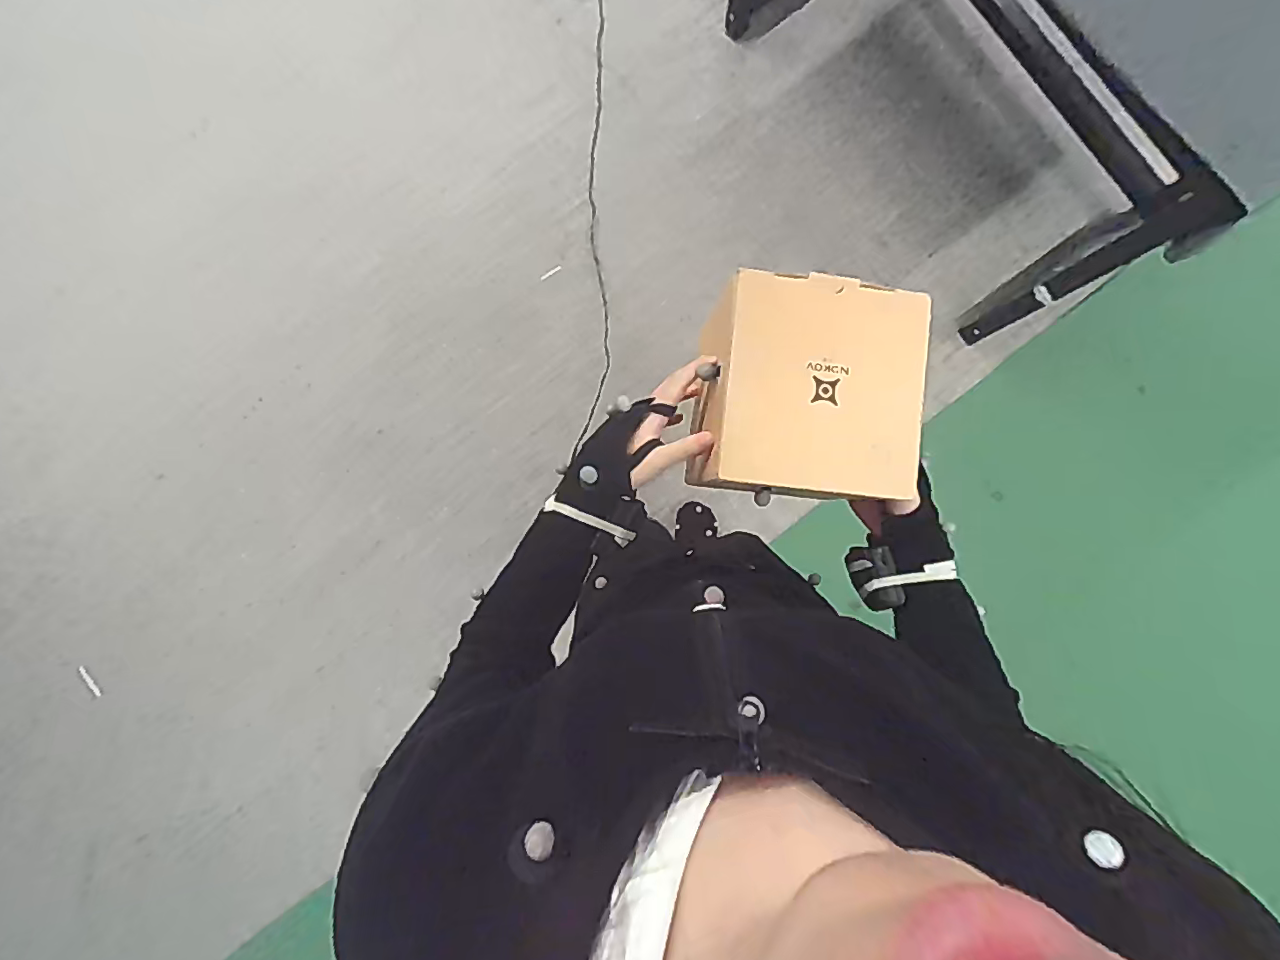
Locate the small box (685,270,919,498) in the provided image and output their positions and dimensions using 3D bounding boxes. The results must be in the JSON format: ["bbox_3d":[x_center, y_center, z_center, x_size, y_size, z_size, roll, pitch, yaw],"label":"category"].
[{"bbox_3d":[0.140,-0.075,0.522,0.168,0.176,0.179,5,86,-3],"label":"small box"}]

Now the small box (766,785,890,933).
[{"bbox_3d":[0.414,0.842,1.220,0.168,0.176,0.179,-40,87,-1],"label":"small box"}]
